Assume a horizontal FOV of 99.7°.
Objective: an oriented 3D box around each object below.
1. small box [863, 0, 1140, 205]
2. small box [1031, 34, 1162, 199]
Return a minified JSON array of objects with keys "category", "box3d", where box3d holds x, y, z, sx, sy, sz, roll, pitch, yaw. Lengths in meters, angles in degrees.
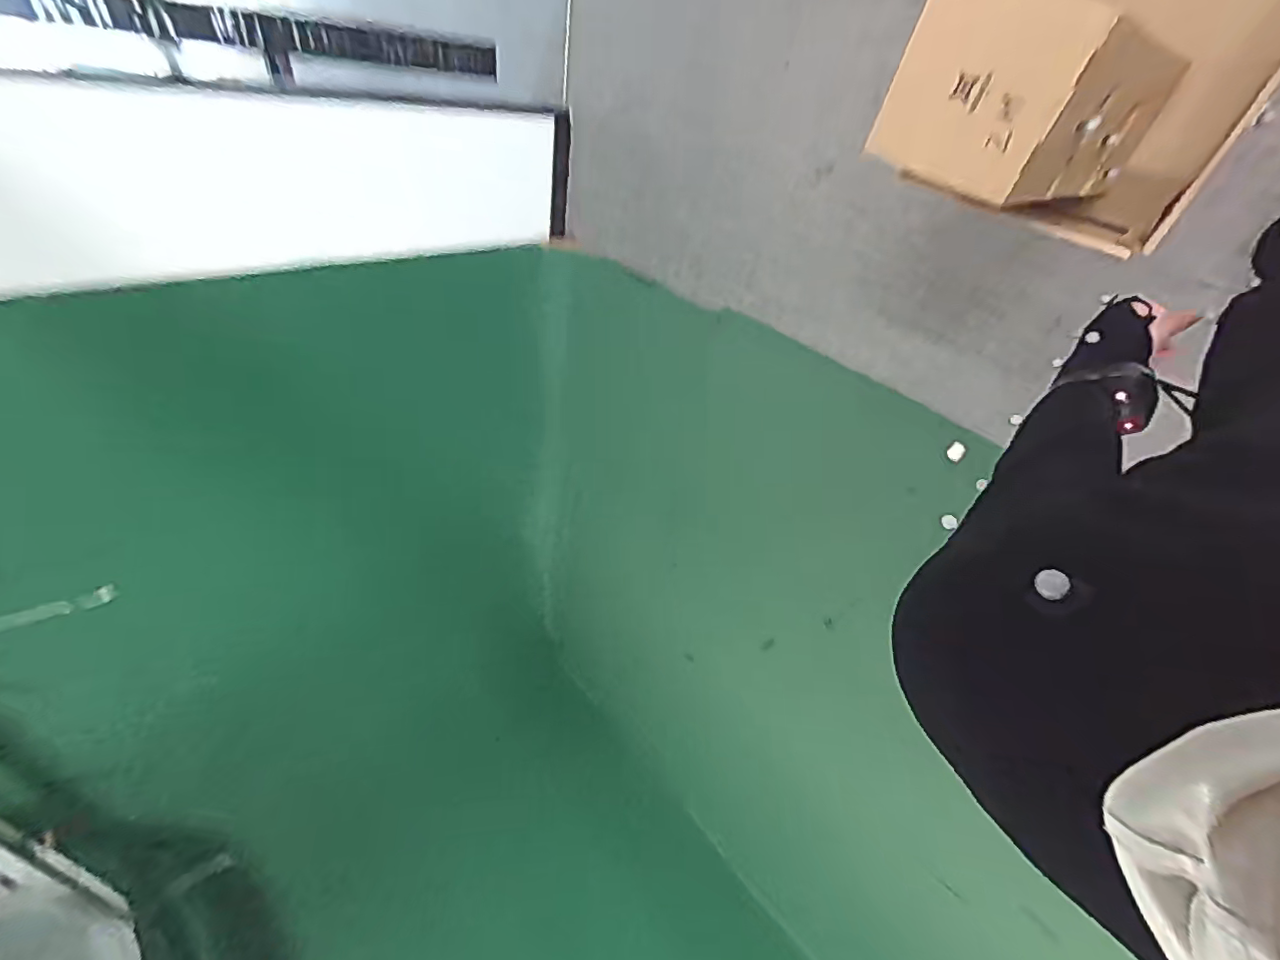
[{"category":"small box","box3d":[0.398,-0.427,0.607,0.179,0.176,0.168,42,138,26]},{"category":"small box","box3d":[0.518,-0.482,0.707,0.179,0.176,0.168,41,137,28]}]
